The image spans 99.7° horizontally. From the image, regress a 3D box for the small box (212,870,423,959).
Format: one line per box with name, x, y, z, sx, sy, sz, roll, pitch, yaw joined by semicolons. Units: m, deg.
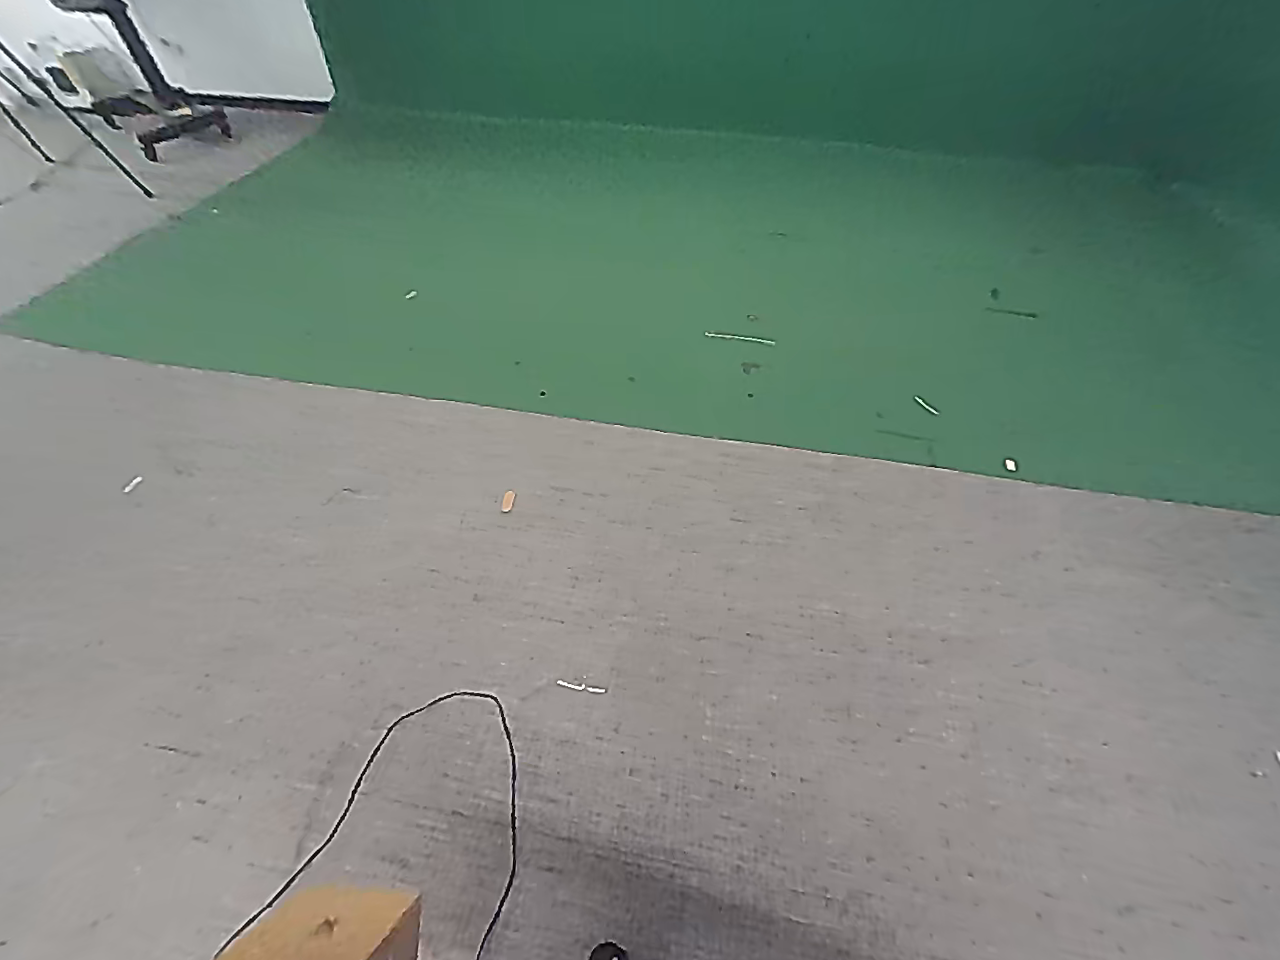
small box;-0.388;0.613;0.651;0.168;0.179;0.176;1;80;4
